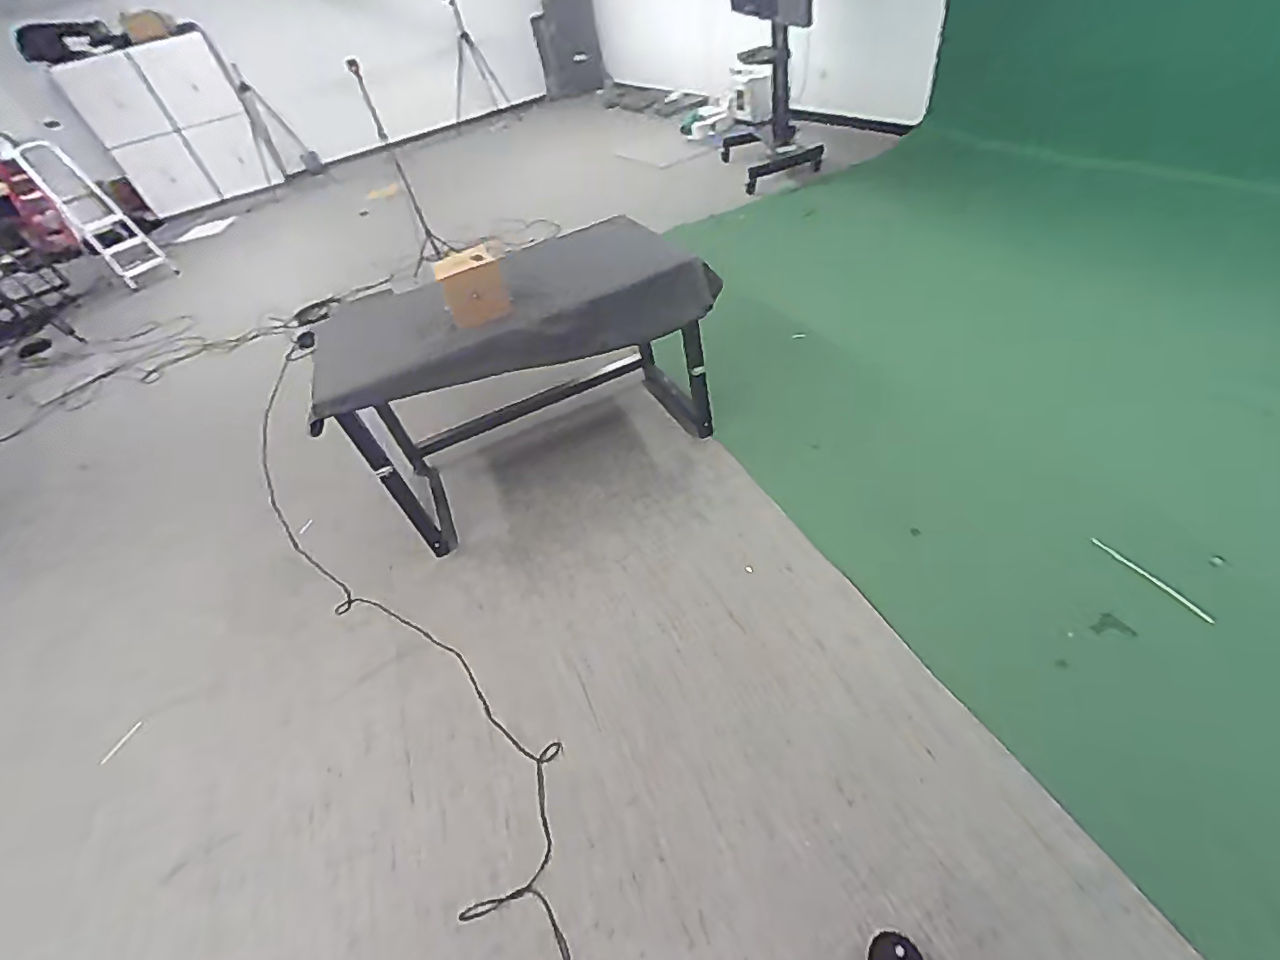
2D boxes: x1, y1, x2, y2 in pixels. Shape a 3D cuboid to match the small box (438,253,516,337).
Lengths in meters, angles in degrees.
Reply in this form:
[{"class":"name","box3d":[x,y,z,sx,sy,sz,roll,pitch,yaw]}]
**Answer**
[{"class":"small box","box3d":[-0.496,-0.569,1.667,0.179,0.176,0.168,-25,43,-9]}]
